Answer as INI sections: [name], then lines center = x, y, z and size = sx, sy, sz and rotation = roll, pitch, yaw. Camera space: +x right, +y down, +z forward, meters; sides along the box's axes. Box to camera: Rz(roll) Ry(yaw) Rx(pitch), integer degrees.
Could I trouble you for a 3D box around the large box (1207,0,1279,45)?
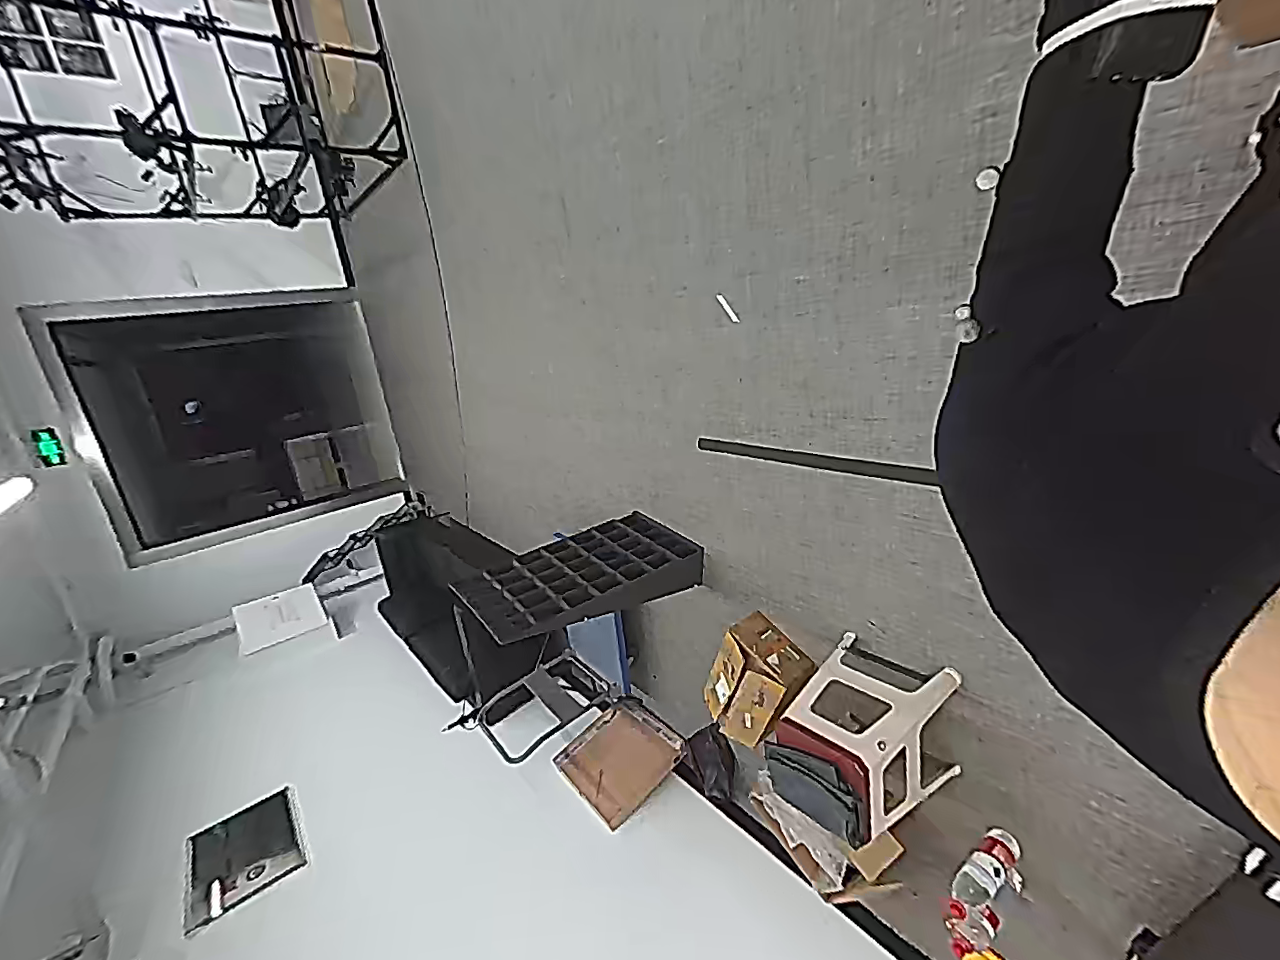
[large box]
center = 0.552, -0.473, 0.229
size = 0.408, 0.320, 0.320
rotation = 14, 119, 48
